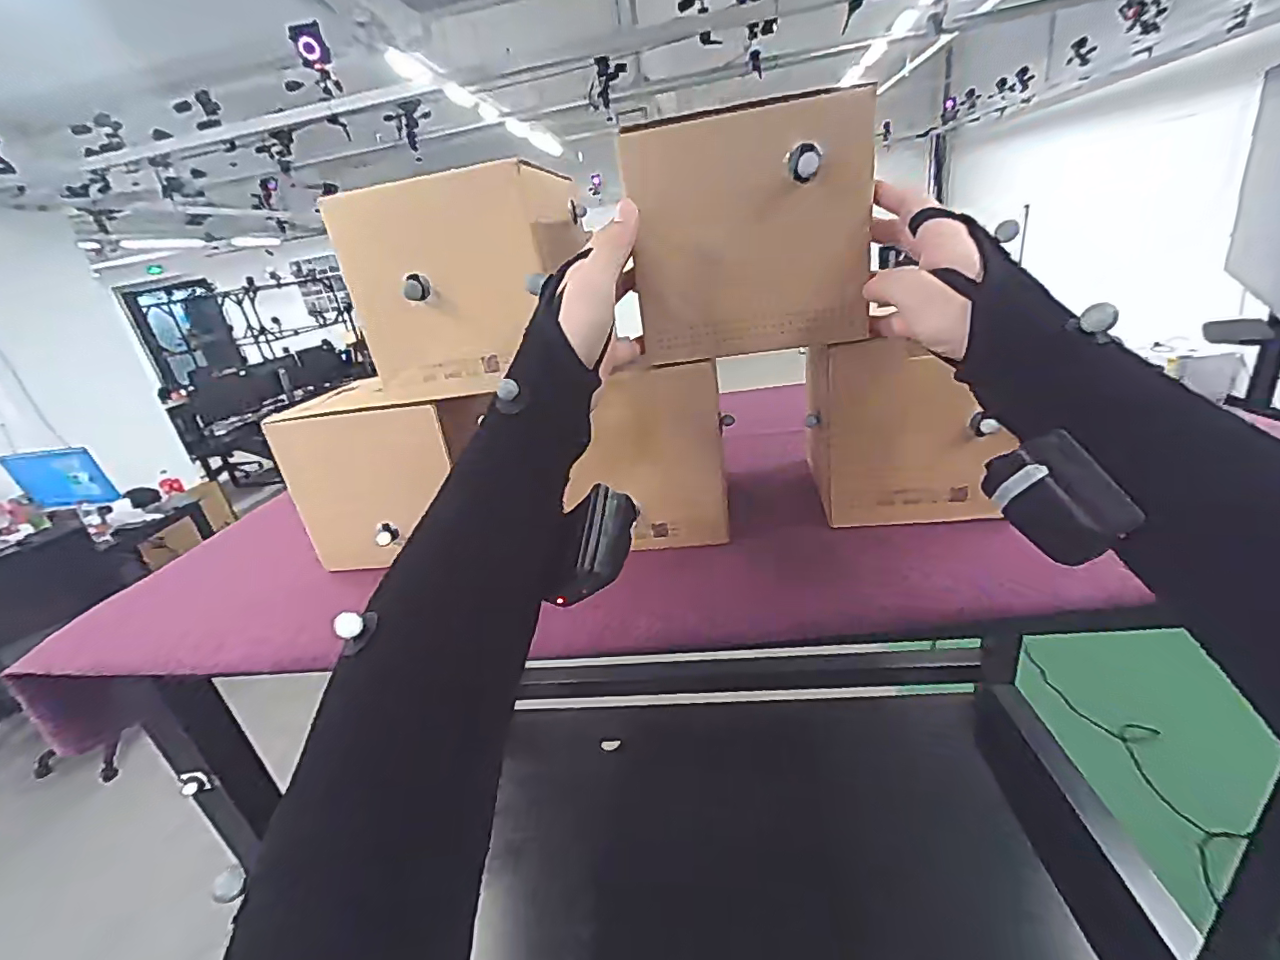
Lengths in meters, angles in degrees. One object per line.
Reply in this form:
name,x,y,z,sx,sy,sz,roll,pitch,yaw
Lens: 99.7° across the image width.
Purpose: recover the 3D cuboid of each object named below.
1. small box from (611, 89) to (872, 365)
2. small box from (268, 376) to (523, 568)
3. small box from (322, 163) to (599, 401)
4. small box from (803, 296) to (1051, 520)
small box,0.087,-0.208,0.466,0.179,0.176,0.168,-5,26,11
small box,-0.245,-0.017,0.595,0.179,0.176,0.168,-5,23,9
small box,-0.144,-0.177,0.510,0.168,0.176,0.179,-6,23,11
small box,0.251,-0.068,0.515,0.168,0.176,0.179,-4,22,13
